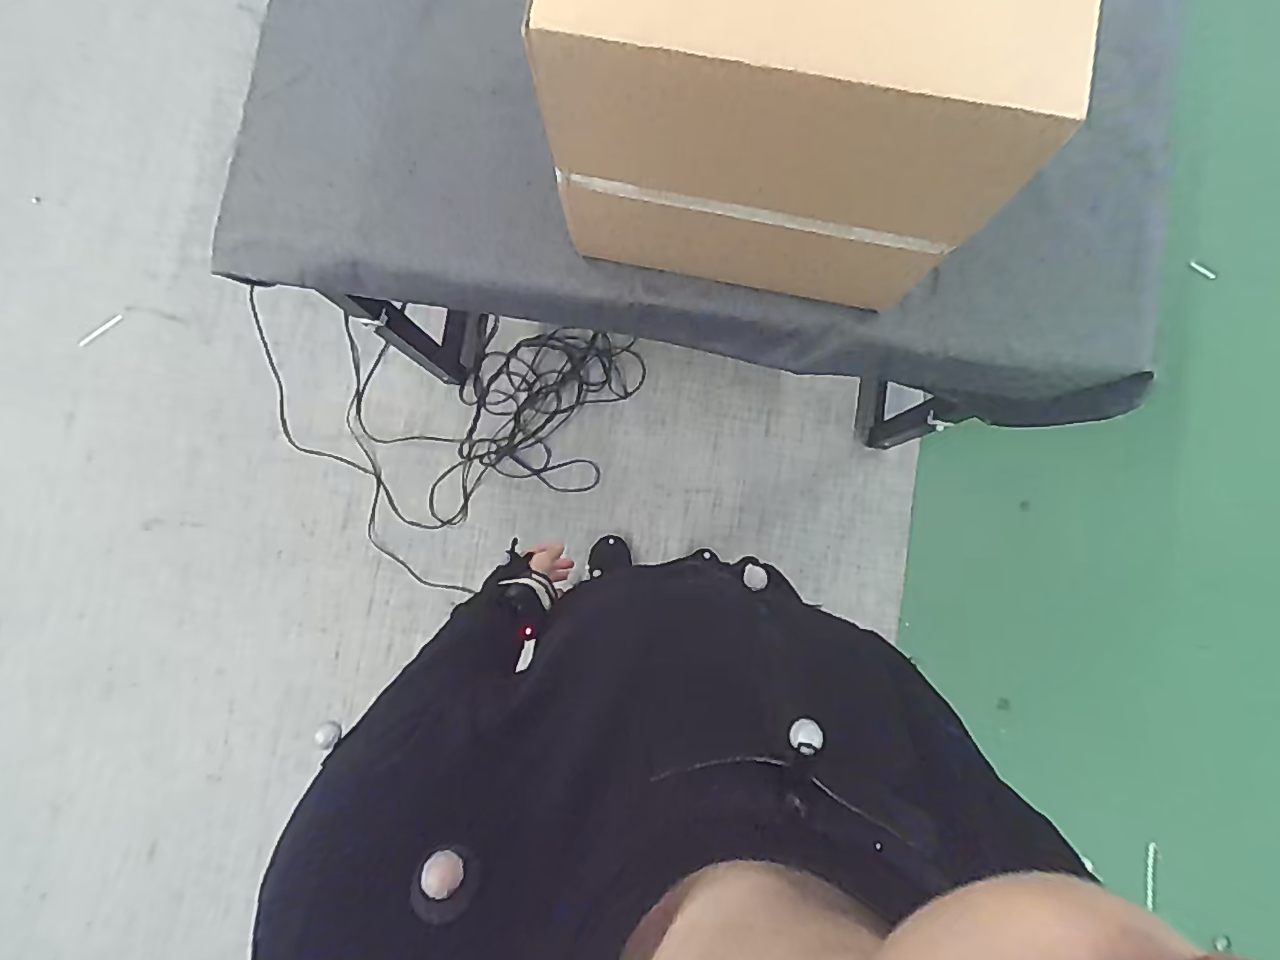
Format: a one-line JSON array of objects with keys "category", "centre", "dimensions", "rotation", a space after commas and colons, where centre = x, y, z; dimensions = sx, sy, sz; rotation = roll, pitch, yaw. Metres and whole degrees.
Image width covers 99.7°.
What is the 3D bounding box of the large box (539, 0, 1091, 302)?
[{"category": "large box", "centre": [0.146, -0.416, 0.551], "dimensions": [0.408, 0.320, 0.320], "rotation": [10, 83, 1]}]
